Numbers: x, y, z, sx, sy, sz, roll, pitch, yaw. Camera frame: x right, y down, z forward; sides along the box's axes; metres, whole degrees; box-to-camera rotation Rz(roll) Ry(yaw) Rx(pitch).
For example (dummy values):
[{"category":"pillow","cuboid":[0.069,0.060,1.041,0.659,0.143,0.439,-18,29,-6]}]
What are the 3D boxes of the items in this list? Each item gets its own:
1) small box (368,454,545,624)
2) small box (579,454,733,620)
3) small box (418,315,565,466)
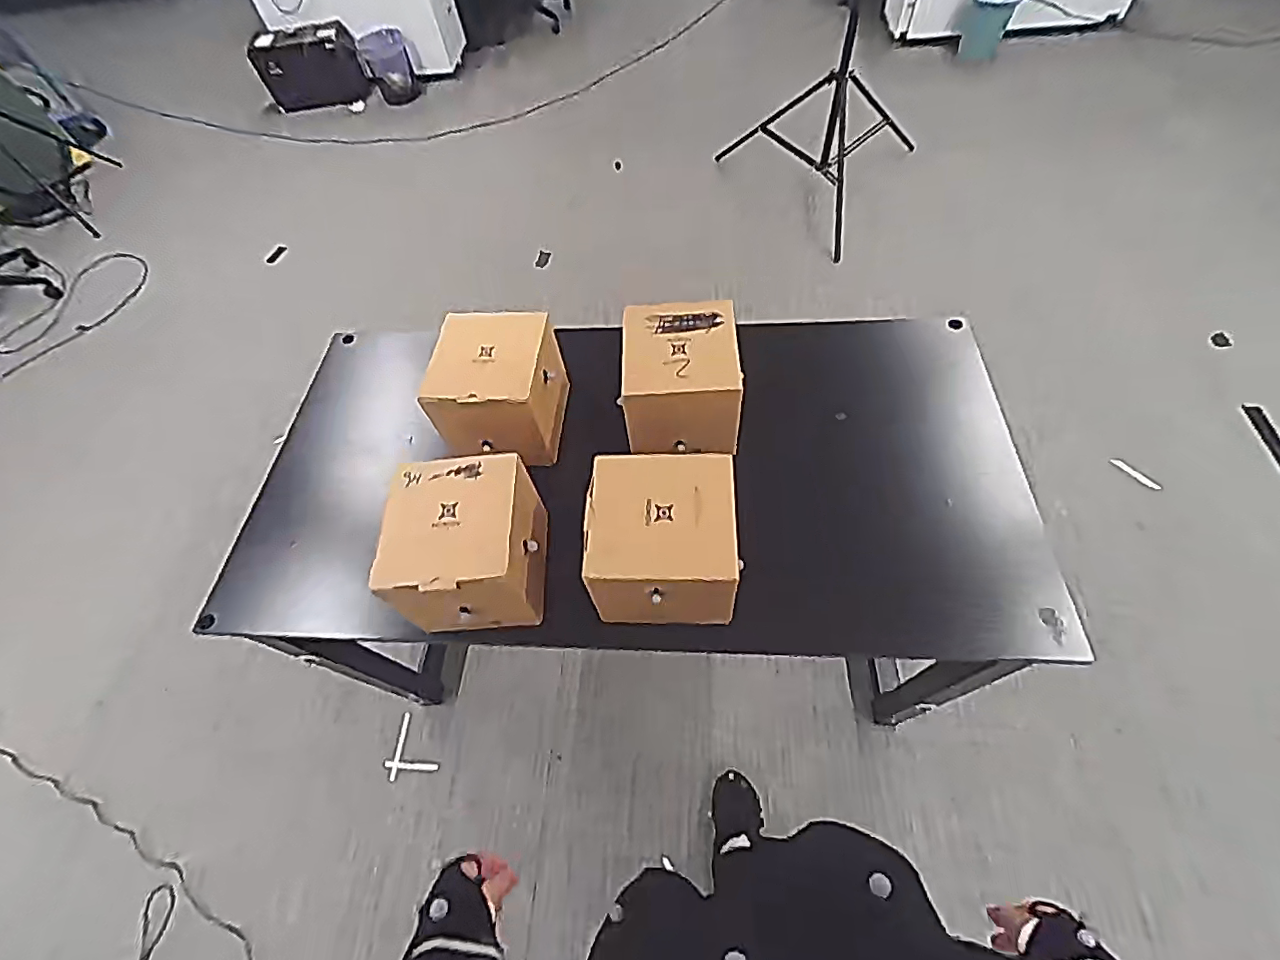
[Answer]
[{"category":"small box","cuboid":[-0.229,0.088,0.728,0.168,0.176,0.179,-5,58,3]},{"category":"small box","cuboid":[0.027,0.080,0.707,0.179,0.176,0.168,0,59,5]},{"category":"small box","cuboid":[-0.223,-0.142,0.871,0.168,0.176,0.179,1,59,7]}]
